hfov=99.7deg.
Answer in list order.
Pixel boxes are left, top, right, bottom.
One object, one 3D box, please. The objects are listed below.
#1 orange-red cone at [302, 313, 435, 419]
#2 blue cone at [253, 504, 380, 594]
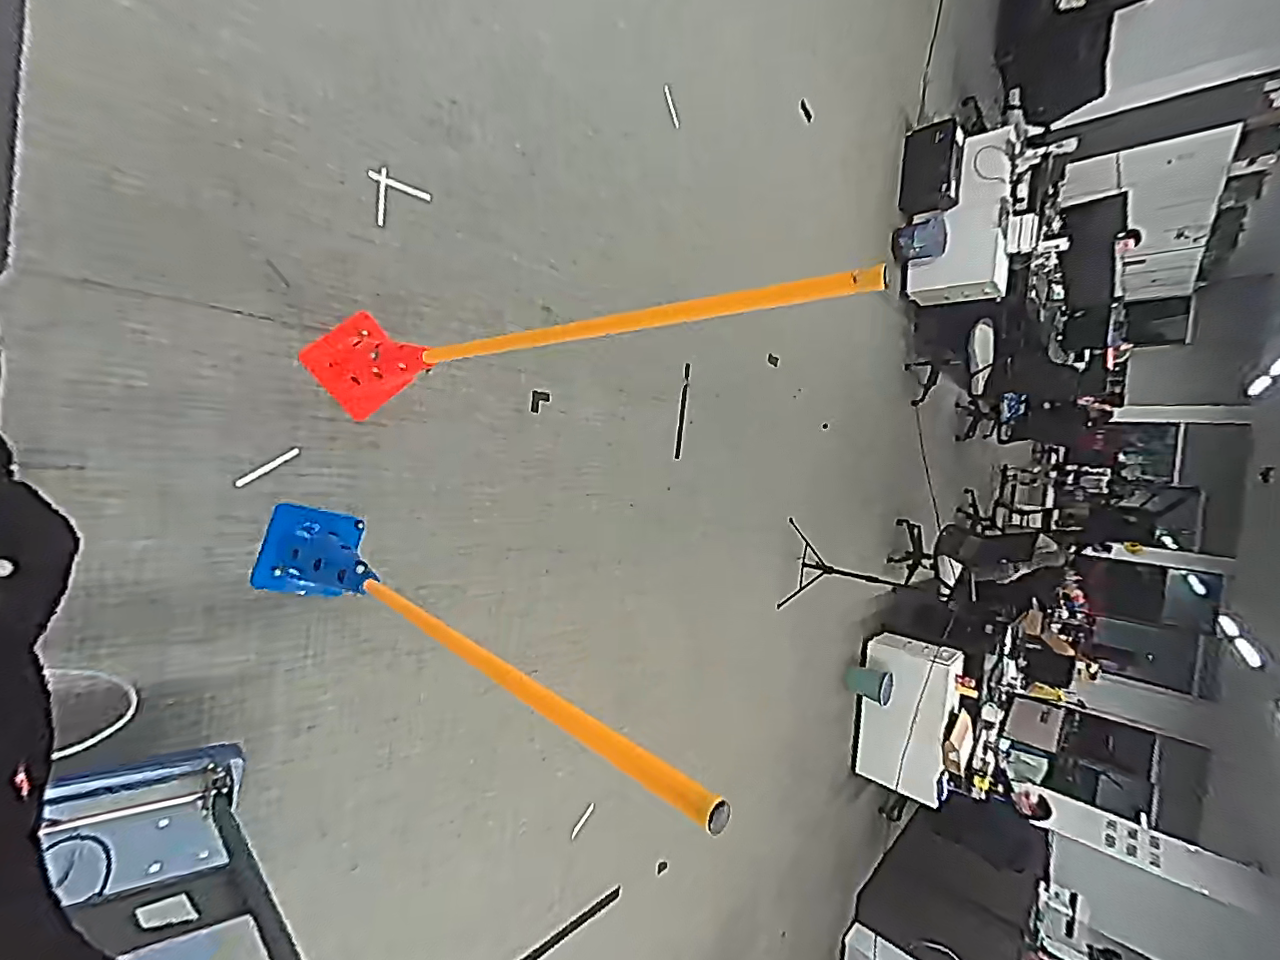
[{"bbox_3d":[-0.543,-0.256,1.174,0.199,0.360,0.198,-50,128,-29],"label":"orange-red cone"},{"bbox_3d":[-0.645,0.174,1.137,0.193,0.380,0.192,25,75,-46],"label":"blue cone"}]
